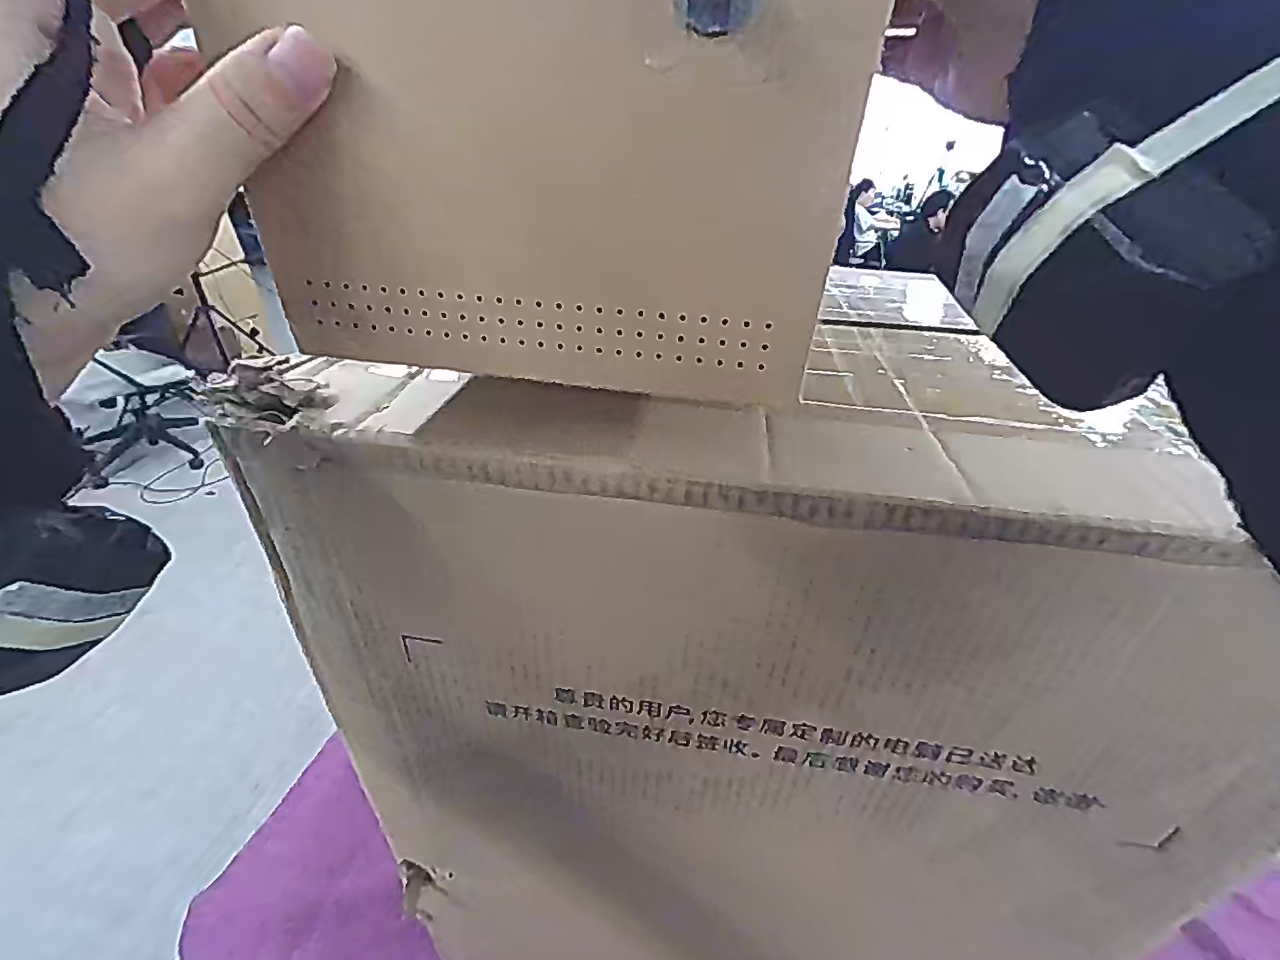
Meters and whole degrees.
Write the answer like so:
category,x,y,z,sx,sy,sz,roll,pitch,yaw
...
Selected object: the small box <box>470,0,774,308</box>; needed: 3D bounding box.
category,x,y,z,sx,sy,sz,roll,pitch,yaw
small box,-0.006,-0.232,0.381,0.168,0.176,0.179,7,32,6
